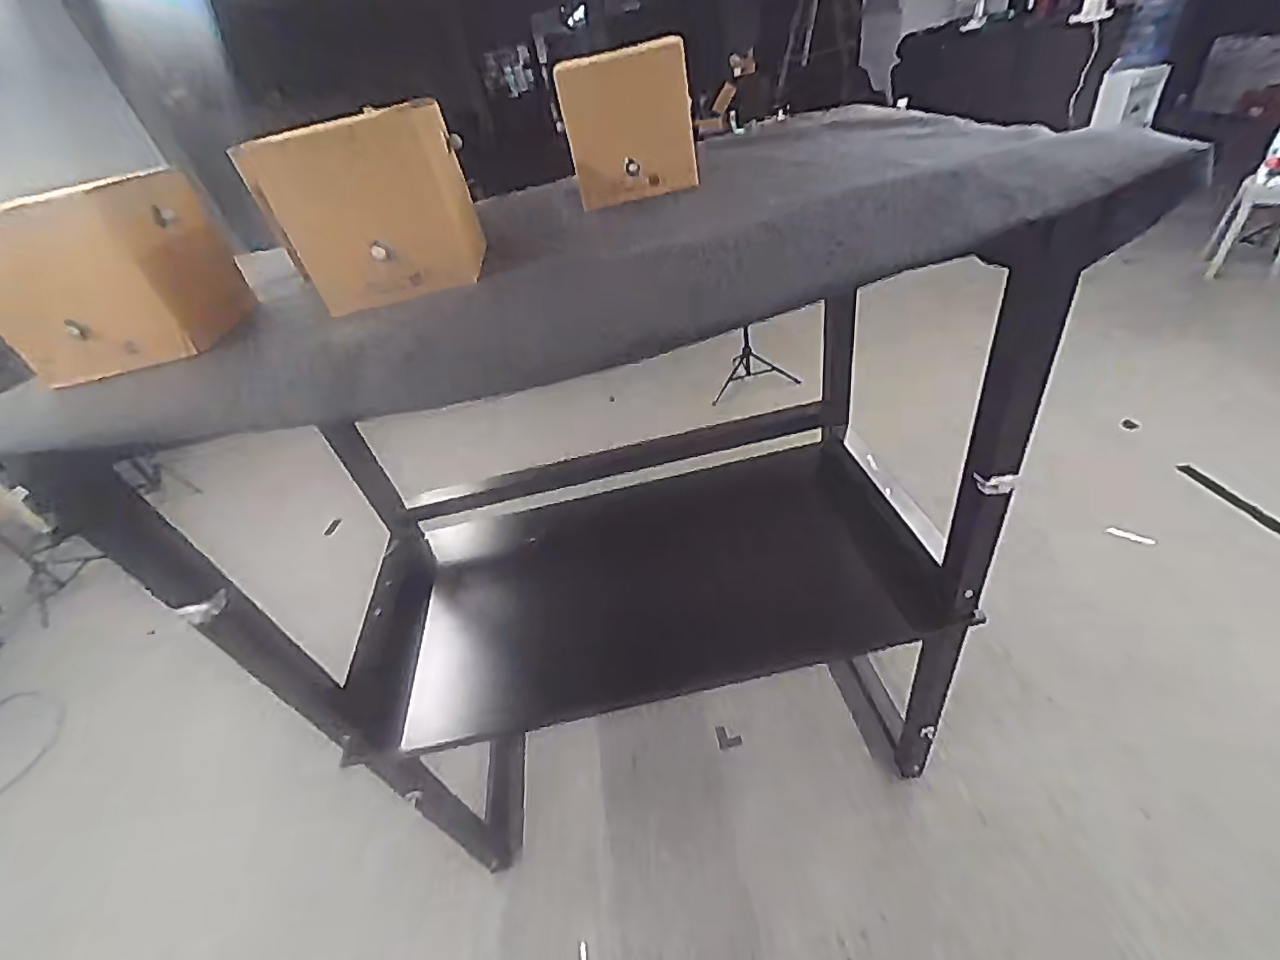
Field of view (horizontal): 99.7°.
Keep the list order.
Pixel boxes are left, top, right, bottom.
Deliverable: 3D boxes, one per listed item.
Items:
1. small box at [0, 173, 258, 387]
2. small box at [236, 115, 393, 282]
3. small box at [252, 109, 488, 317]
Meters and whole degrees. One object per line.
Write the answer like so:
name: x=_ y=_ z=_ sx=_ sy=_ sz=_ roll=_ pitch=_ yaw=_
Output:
small box: x=-0.579 y=-0.227 z=0.610 sx=0.168 sy=0.176 sz=0.179 roll=-14 pitch=38 yaw=-2
small box: x=-0.424 y=-0.411 z=0.790 sx=0.179 sy=0.176 sz=0.168 roll=-15 pitch=39 yaw=-2
small box: x=-0.283 y=-0.307 z=0.621 sx=0.168 sy=0.176 sz=0.179 roll=-14 pitch=38 yaw=-1
